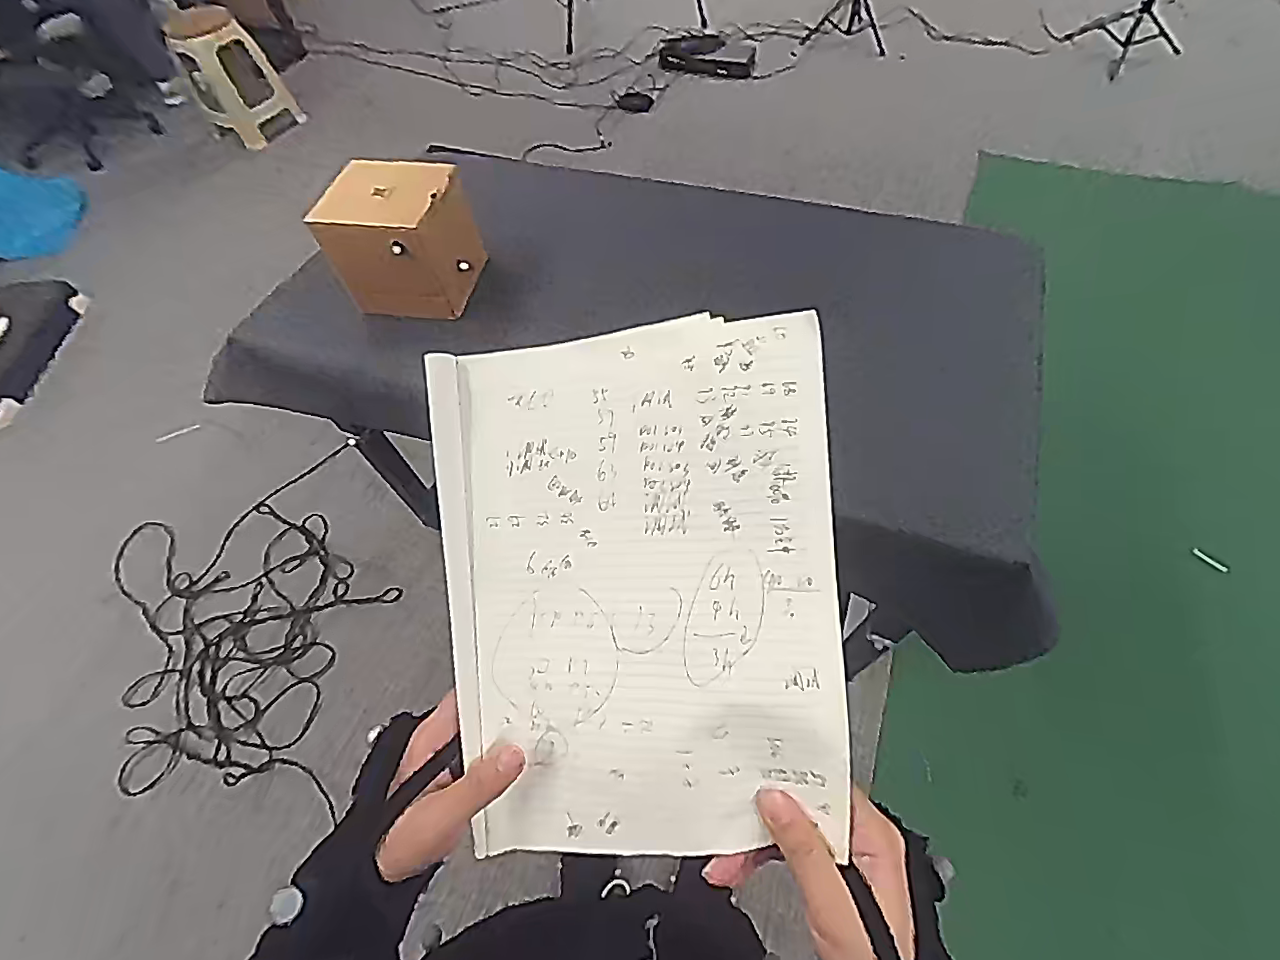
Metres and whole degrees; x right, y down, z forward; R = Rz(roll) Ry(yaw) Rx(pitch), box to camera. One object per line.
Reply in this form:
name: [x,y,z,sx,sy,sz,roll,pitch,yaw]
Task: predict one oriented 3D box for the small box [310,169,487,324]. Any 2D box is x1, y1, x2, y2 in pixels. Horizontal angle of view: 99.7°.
small box: [-0.373,-0.372,0.872,0.179,0.176,0.168,6,58,7]
